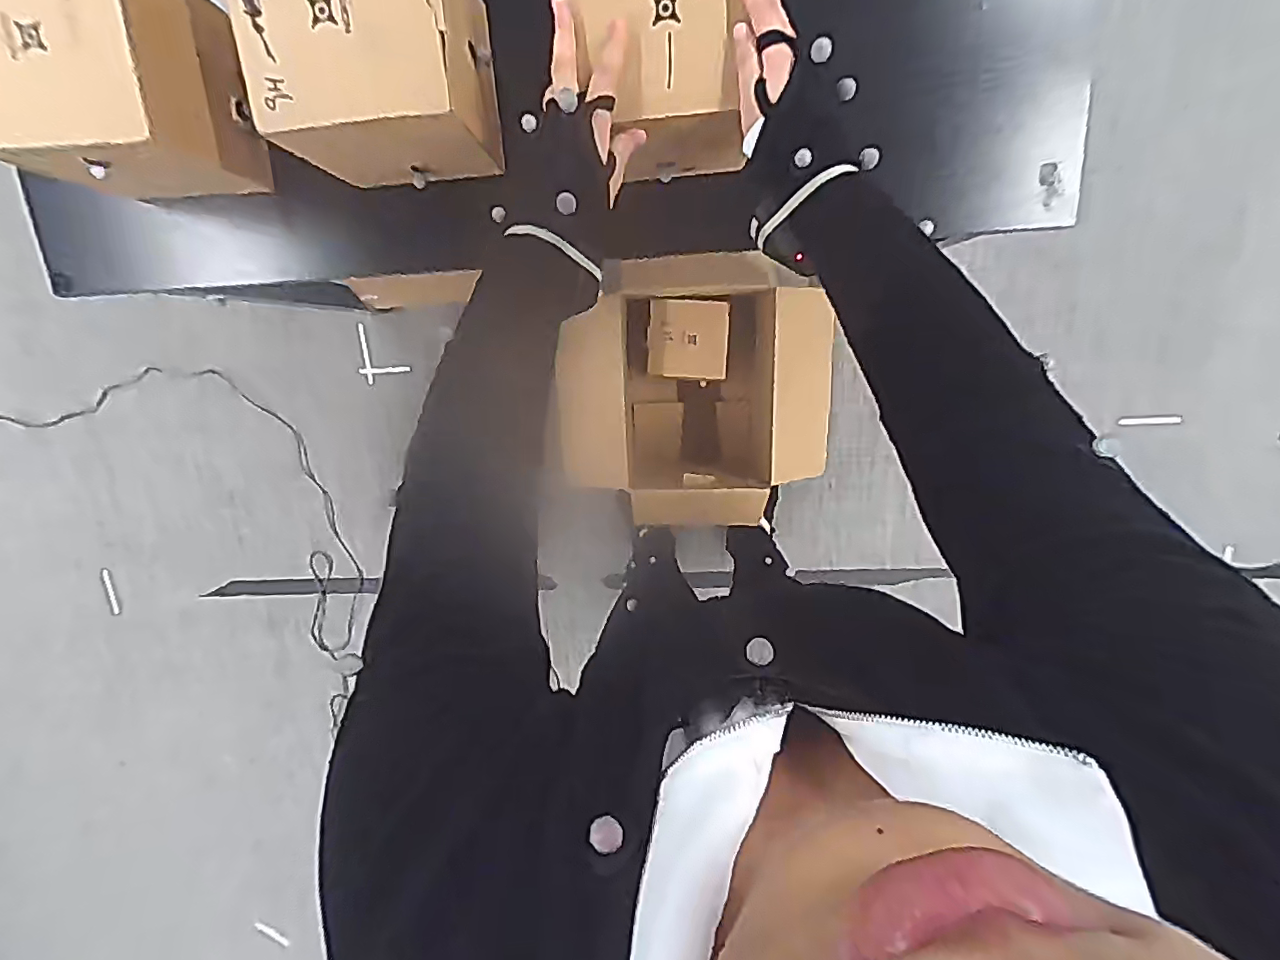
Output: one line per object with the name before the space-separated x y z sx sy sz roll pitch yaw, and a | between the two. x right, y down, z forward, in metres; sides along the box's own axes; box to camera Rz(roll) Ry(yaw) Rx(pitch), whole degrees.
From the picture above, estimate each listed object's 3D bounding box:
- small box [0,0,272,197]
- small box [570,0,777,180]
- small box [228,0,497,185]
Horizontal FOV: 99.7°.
small box | -0.507 -0.384 0.523 0.179 0.176 0.168 -2 104 1
small box | 0.026 -0.406 0.504 0.168 0.176 0.179 -5 104 3
small box | -0.244 -0.398 0.514 0.179 0.176 0.168 -5 103 1
